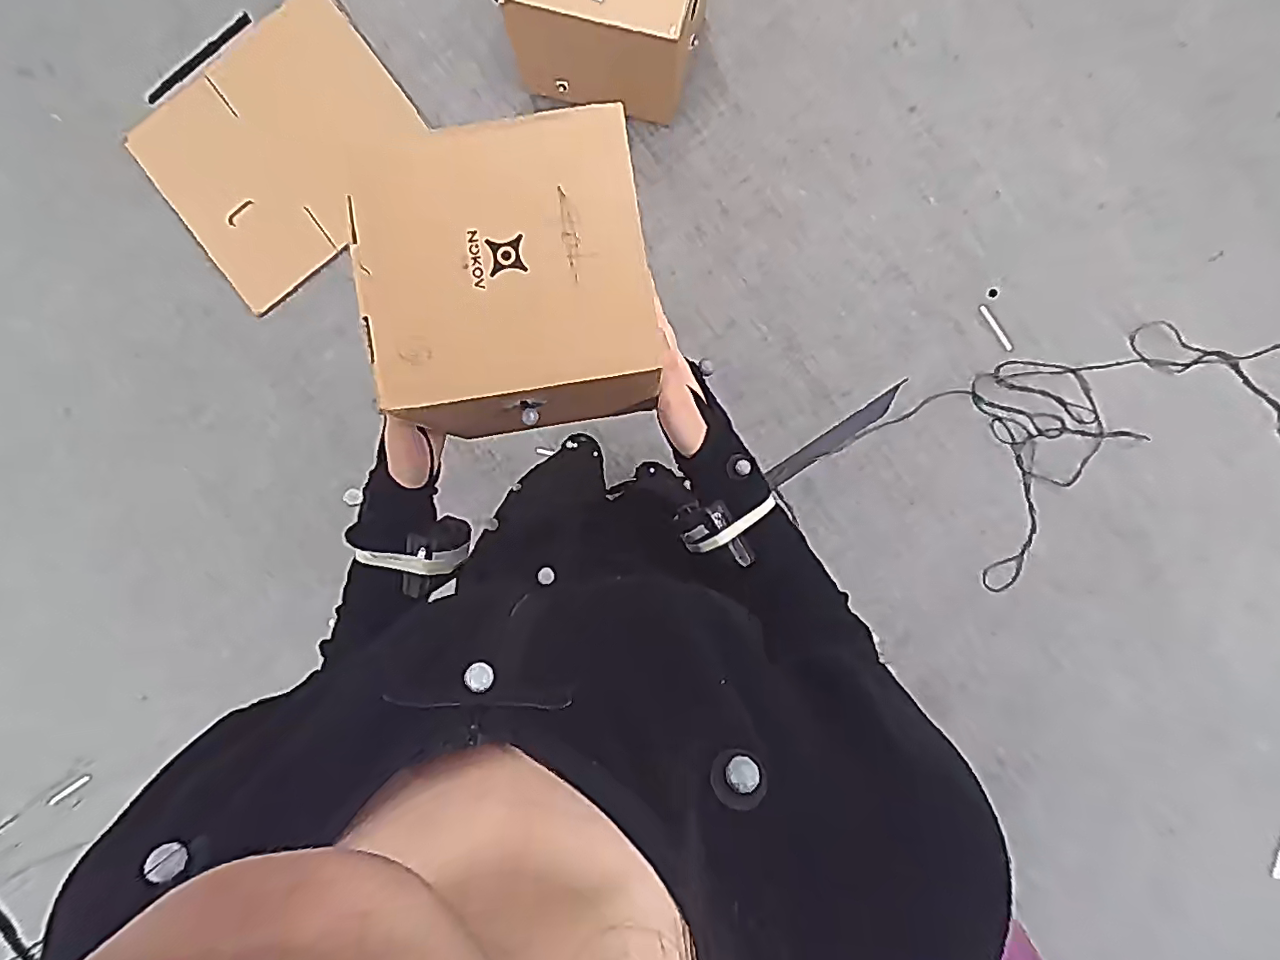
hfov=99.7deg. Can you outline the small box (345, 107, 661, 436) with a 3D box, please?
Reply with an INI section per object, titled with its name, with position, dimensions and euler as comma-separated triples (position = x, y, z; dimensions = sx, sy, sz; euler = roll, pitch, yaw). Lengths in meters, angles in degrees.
[small box]
position = -0.082, -0.131, 0.405
dimensions = 0.179, 0.176, 0.168
euler = -9, 89, 0
